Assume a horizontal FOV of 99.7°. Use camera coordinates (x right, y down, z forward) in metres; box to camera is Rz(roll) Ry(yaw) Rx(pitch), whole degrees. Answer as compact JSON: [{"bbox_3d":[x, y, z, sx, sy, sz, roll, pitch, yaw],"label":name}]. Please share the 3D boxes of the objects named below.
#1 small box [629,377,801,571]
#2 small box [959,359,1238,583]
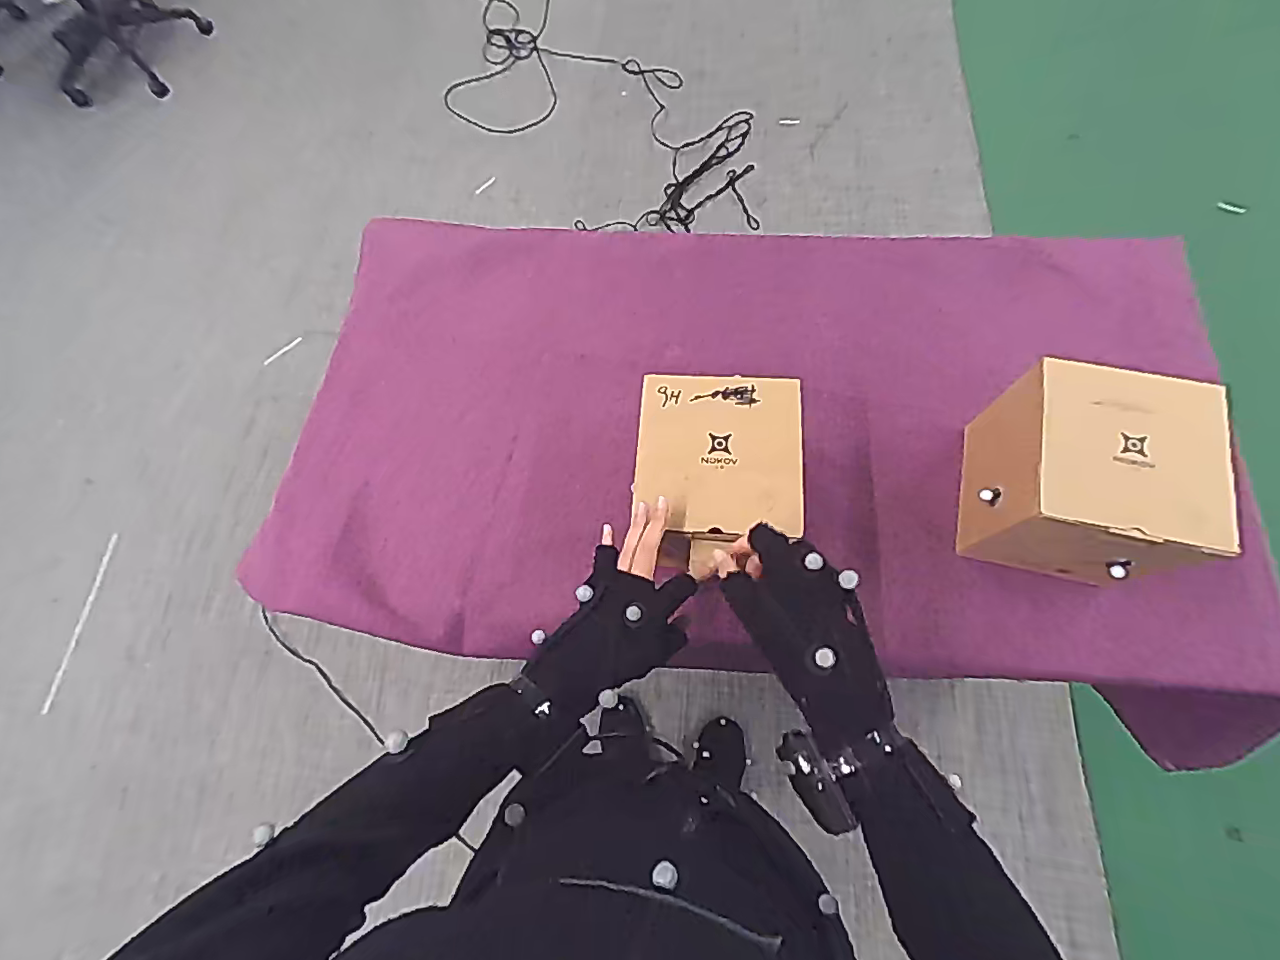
[{"bbox_3d":[0.085,0.002,0.617,0.168,0.176,0.179,3,70,6],"label":"small box"},{"bbox_3d":[0.470,0.001,0.584,0.168,0.176,0.179,13,71,9],"label":"small box"}]
